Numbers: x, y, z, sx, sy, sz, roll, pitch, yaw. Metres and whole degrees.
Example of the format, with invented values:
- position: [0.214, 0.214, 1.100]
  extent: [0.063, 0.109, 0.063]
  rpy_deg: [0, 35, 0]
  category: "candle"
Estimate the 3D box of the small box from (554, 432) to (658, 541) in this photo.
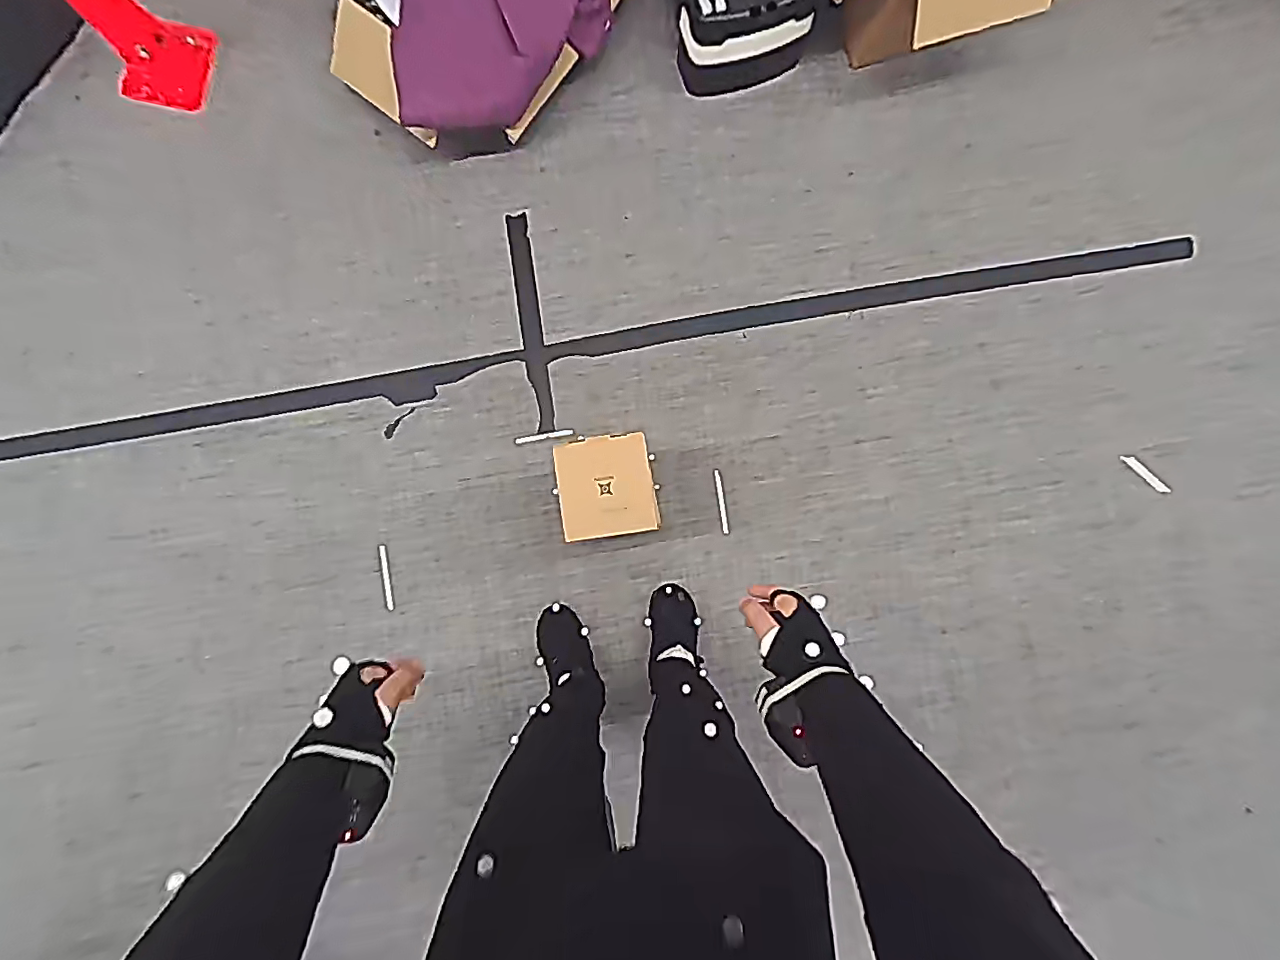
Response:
- position: [-0.061, 0.012, 1.029]
  extent: [0.168, 0.176, 0.179]
  rpy_deg: [-9, 90, 0]
  category: "small box"
